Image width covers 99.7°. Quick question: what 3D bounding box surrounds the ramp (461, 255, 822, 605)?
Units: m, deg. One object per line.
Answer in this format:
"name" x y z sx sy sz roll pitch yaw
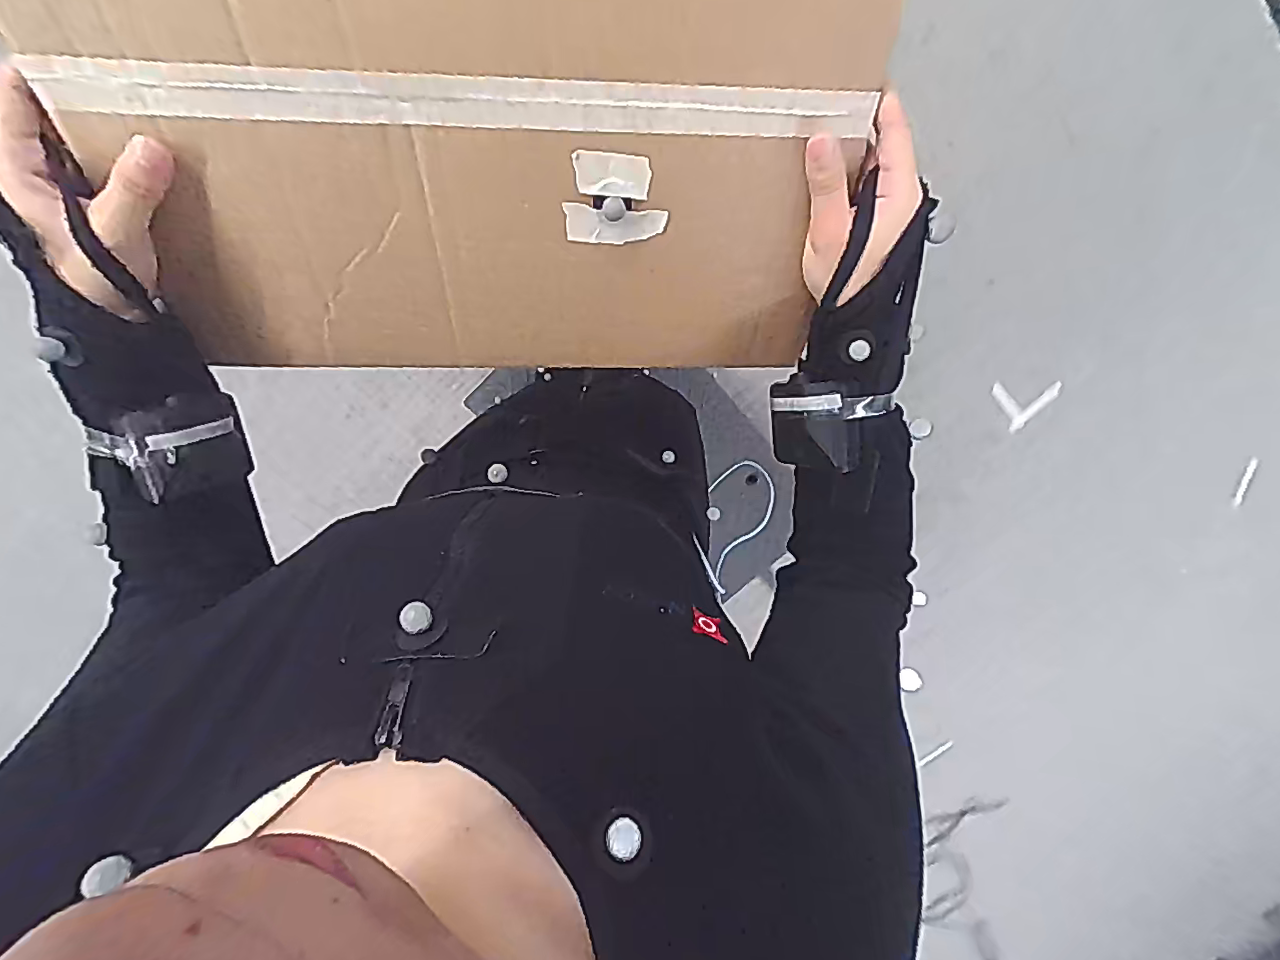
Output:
"ramp" 0.066 -0.056 1.480 0.509 0.206 0.991 -44 107 9
